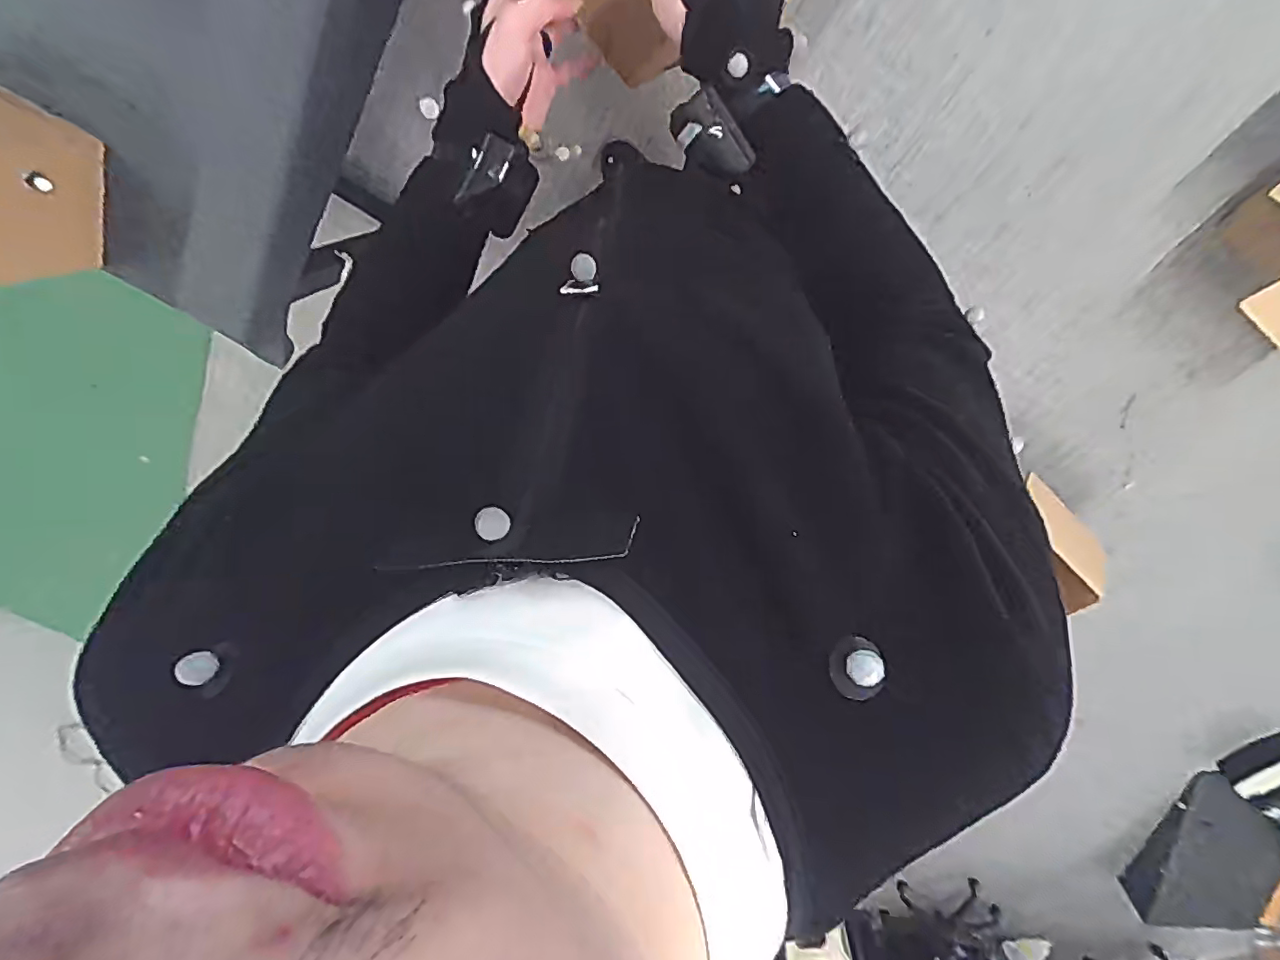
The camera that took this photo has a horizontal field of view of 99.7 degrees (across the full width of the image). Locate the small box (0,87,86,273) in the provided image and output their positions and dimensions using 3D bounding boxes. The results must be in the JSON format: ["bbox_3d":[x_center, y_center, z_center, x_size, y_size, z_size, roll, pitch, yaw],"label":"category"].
[{"bbox_3d":[-0.792,-0.362,0.615,0.168,0.176,0.179,28,121,-11],"label":"small box"}]

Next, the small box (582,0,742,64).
[{"bbox_3d":[0.017,-0.495,0.419,0.168,0.176,0.179,-3,165,37],"label":"small box"}]
